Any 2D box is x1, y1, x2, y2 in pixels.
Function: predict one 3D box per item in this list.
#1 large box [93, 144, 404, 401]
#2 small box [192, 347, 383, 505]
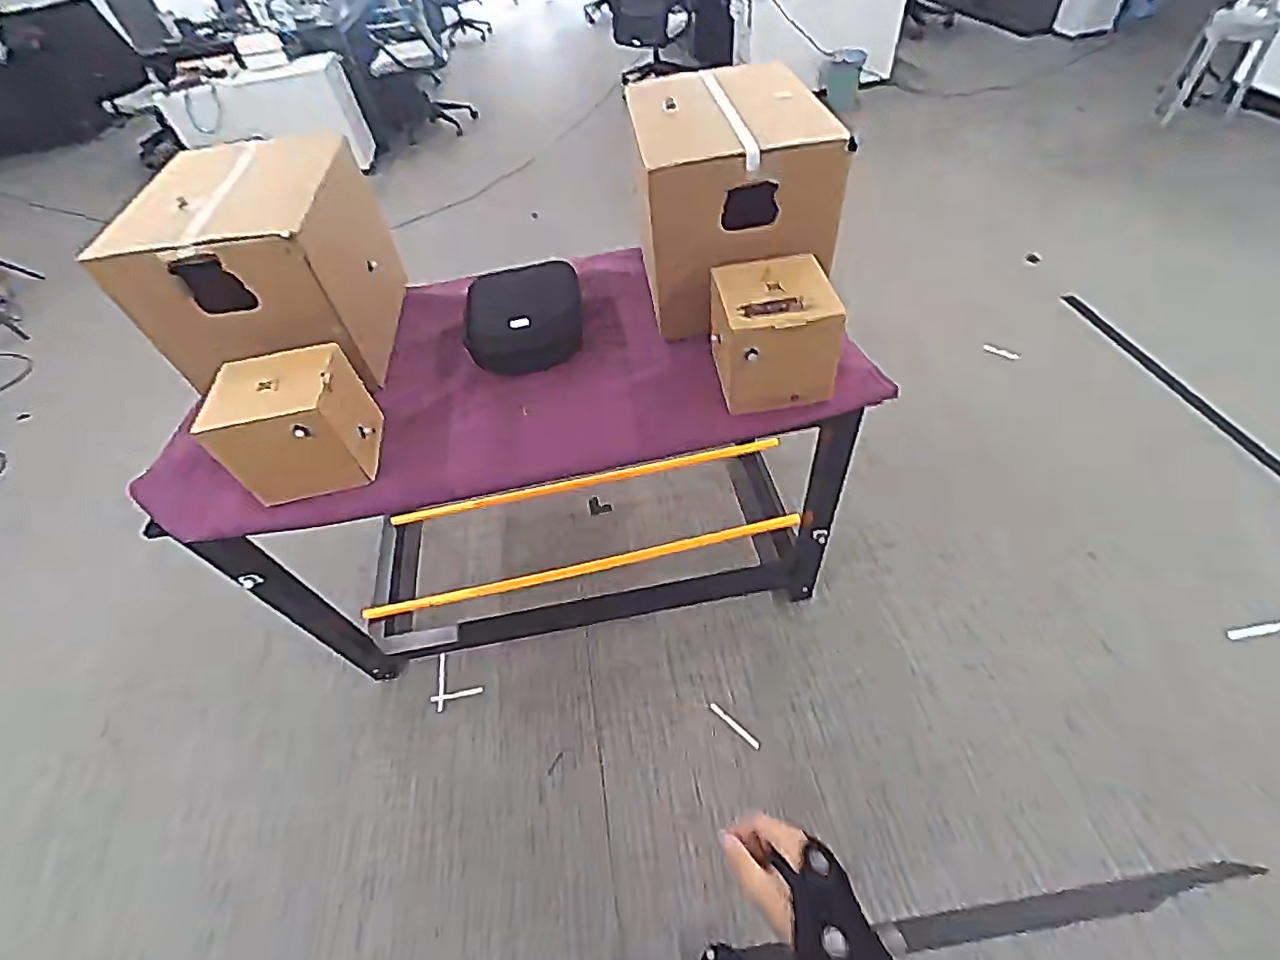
[{"bbox_3d":[-0.674,-0.380,1.030,0.320,0.320,0.408,-10,52,-3],"label":"large box"},{"bbox_3d":[-0.541,-0.082,0.860,0.179,0.176,0.168,-13,49,-4],"label":"small box"}]
